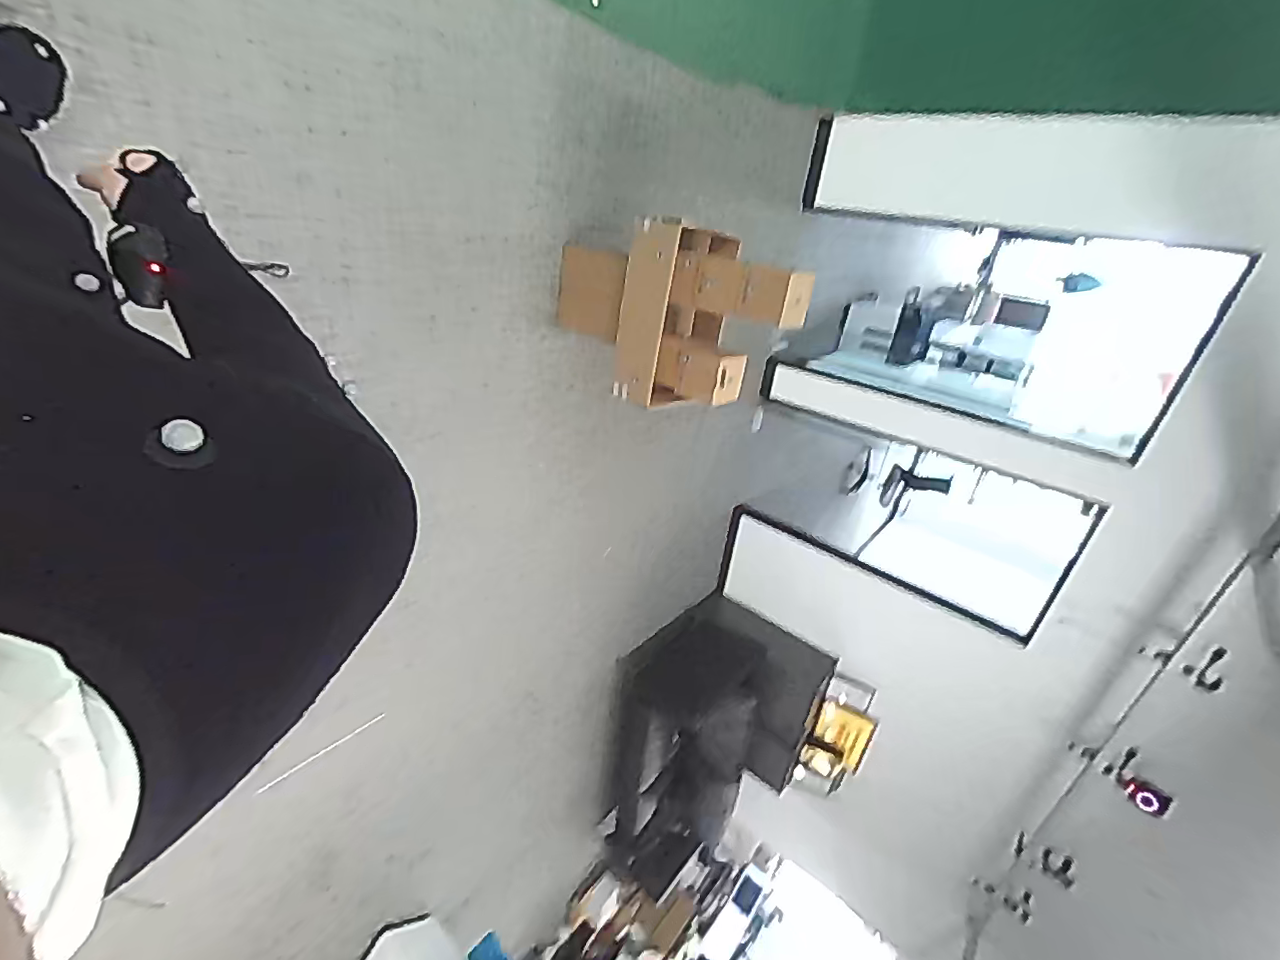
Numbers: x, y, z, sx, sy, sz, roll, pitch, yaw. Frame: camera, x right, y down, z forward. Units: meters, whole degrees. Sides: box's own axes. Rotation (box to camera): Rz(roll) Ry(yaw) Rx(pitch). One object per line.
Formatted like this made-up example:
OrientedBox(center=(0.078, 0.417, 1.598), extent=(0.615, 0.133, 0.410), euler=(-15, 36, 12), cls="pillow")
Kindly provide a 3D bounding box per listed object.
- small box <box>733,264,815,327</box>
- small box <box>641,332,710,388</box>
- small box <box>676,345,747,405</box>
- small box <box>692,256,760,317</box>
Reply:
OrientedBox(center=(0.421, -0.584, 1.707), extent=(0.179, 0.176, 0.168), euler=(-20, 127, -47), cls="small box")
OrientedBox(center=(0.130, -0.445, 2.002), extent=(0.179, 0.176, 0.168), euler=(-15, 124, -48), cls="small box")
OrientedBox(center=(0.249, -0.376, 1.911), extent=(0.179, 0.176, 0.168), euler=(-21, 129, -46), cls="small box")
OrientedBox(center=(0.299, -0.644, 1.797), extent=(0.179, 0.176, 0.168), euler=(-21, 127, -47), cls="small box")
